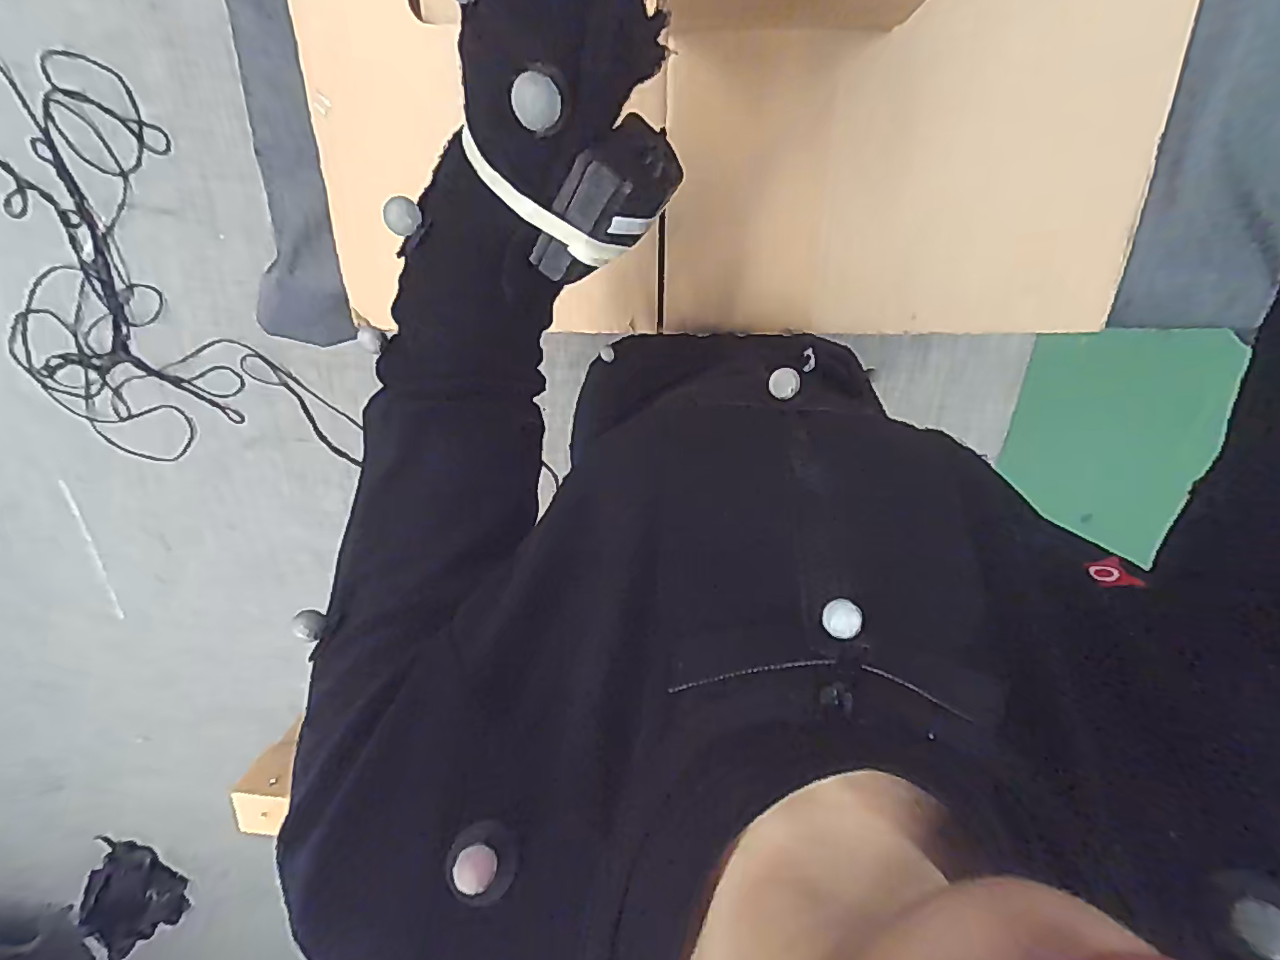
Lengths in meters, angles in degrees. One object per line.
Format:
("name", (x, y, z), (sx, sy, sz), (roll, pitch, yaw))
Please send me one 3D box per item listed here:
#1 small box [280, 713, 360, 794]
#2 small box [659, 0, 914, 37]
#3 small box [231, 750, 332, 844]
("small box", (-1.026, 0.877, 1.745), (0.179, 0.176, 0.168), (5, 112, -1))
("small box", (0.098, -0.371, 0.288), (0.179, 0.176, 0.168), (0, 109, 3))
("small box", (-1.045, 0.926, 1.589), (0.179, 0.176, 0.168), (6, 112, 0))
